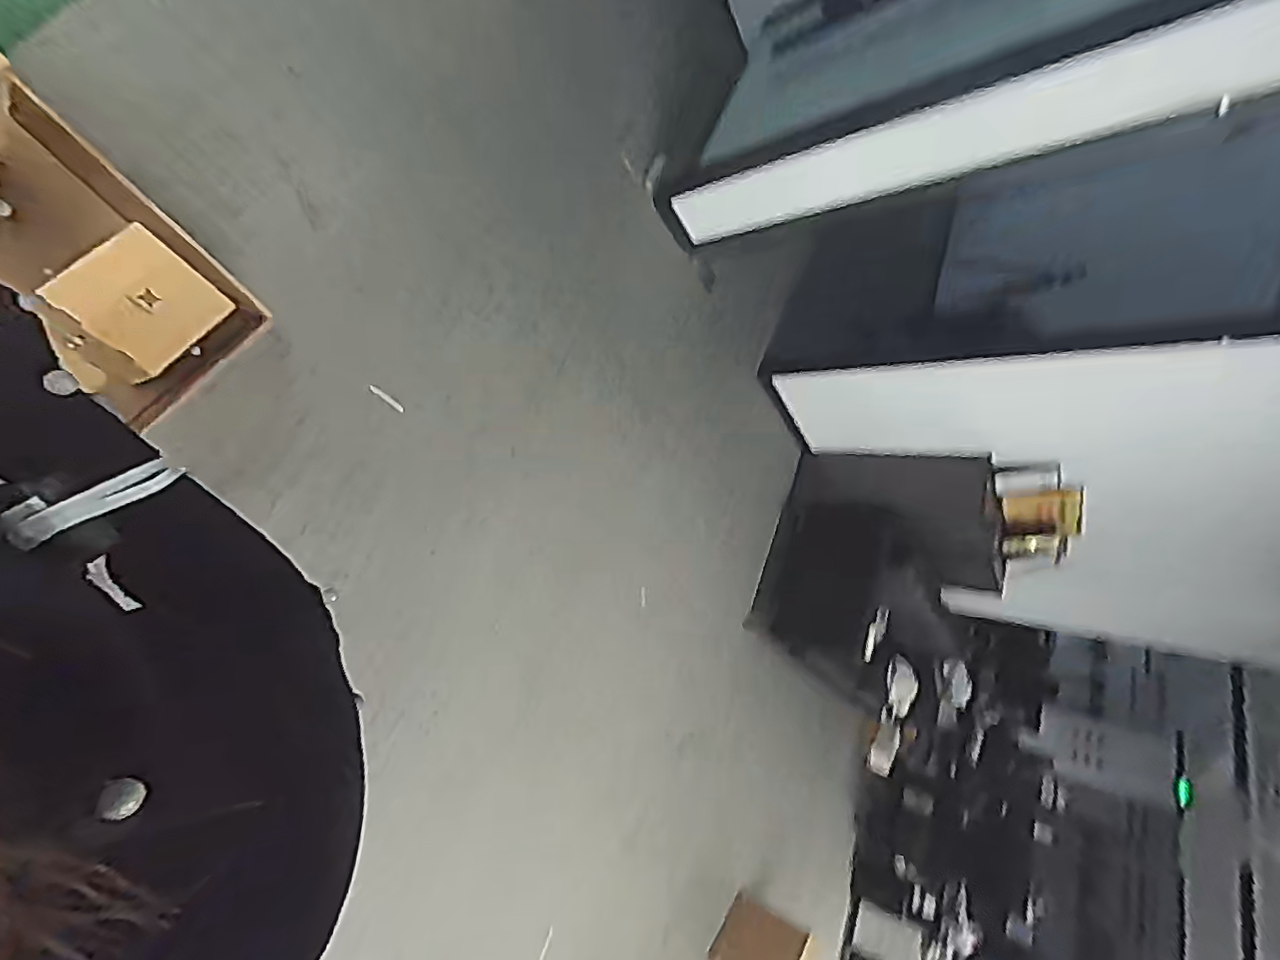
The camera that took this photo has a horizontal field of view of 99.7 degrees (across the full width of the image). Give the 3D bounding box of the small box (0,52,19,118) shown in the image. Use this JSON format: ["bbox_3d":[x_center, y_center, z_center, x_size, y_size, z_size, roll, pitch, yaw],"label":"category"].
[{"bbox_3d":[-0.867,-0.474,0.596,0.179,0.176,0.168,-59,134,-27],"label":"small box"}]

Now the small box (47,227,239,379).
[{"bbox_3d":[-0.835,-0.288,0.908,0.168,0.176,0.179,52,58,-39],"label":"small box"}]

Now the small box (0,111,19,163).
[{"bbox_3d":[-0.991,-0.486,0.704,0.179,0.176,0.168,-57,134,-28],"label":"small box"}]
